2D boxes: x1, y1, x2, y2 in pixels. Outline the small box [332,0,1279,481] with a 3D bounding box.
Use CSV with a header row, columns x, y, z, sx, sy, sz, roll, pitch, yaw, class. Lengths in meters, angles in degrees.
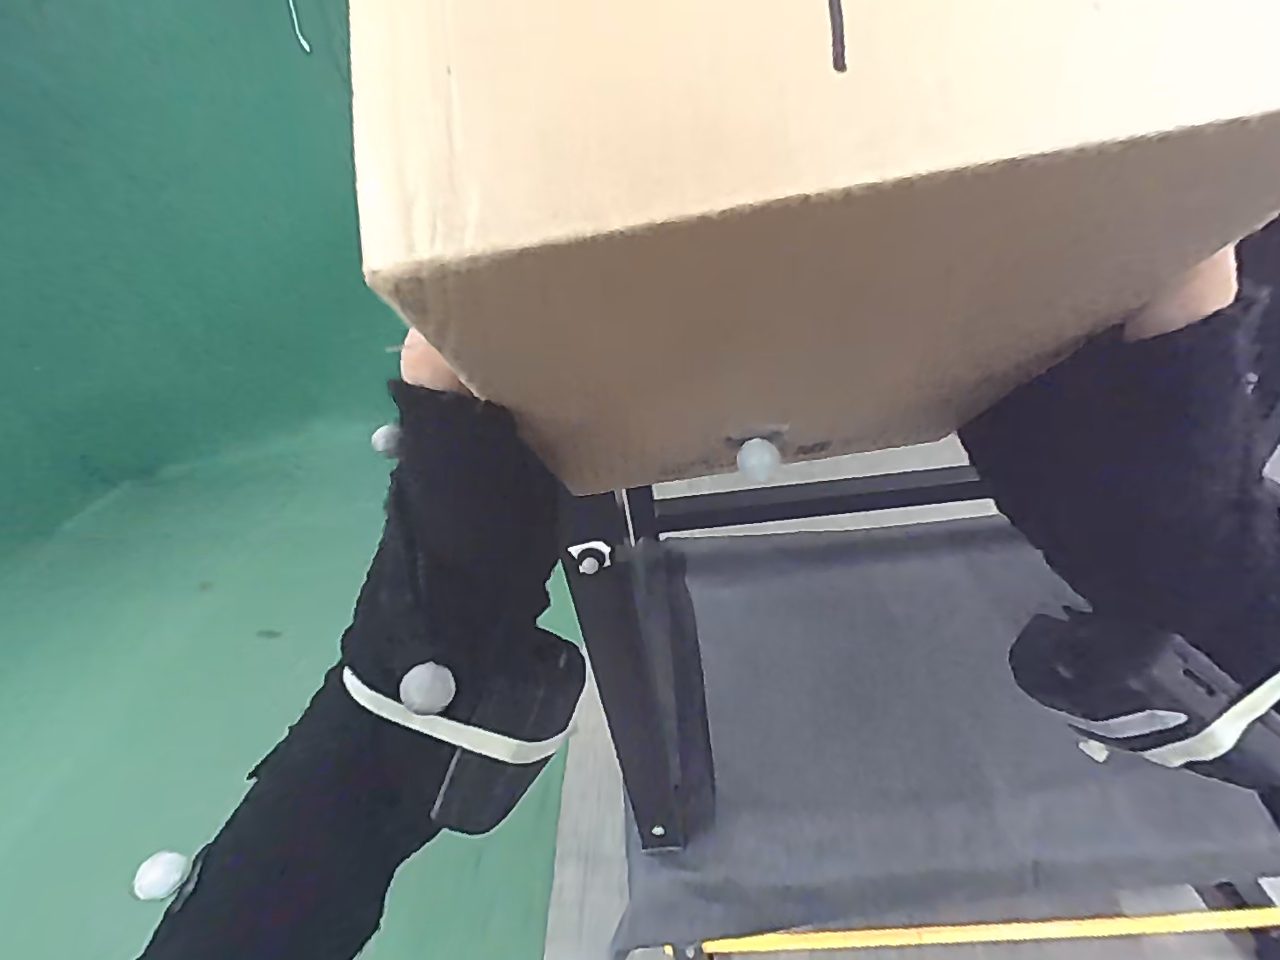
x,y,z,sx,sy,sz,roll,pitch,yaw,class
0.028,-0.112,0.182,0.168,0.176,0.179,-9,76,3,small box
